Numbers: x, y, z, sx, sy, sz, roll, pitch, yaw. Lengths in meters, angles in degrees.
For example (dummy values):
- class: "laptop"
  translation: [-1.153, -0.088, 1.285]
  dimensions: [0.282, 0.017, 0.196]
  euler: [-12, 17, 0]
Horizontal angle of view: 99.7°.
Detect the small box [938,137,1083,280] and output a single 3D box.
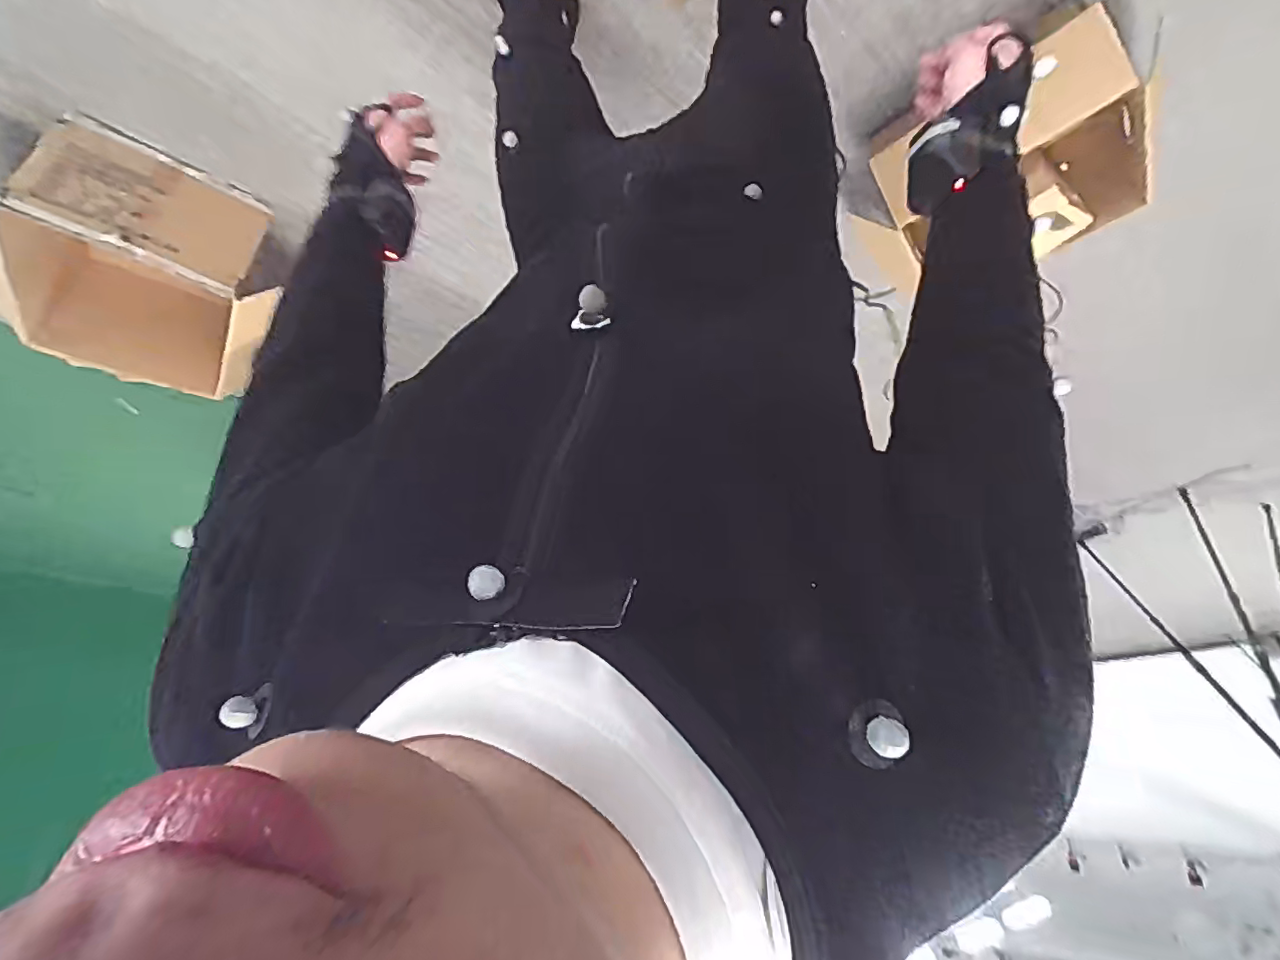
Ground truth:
- class: "small box"
  translation: [0.772, -0.571, 1.140]
  dimensions: [0.168, 0.176, 0.179]
  euler: [17, 147, -30]
